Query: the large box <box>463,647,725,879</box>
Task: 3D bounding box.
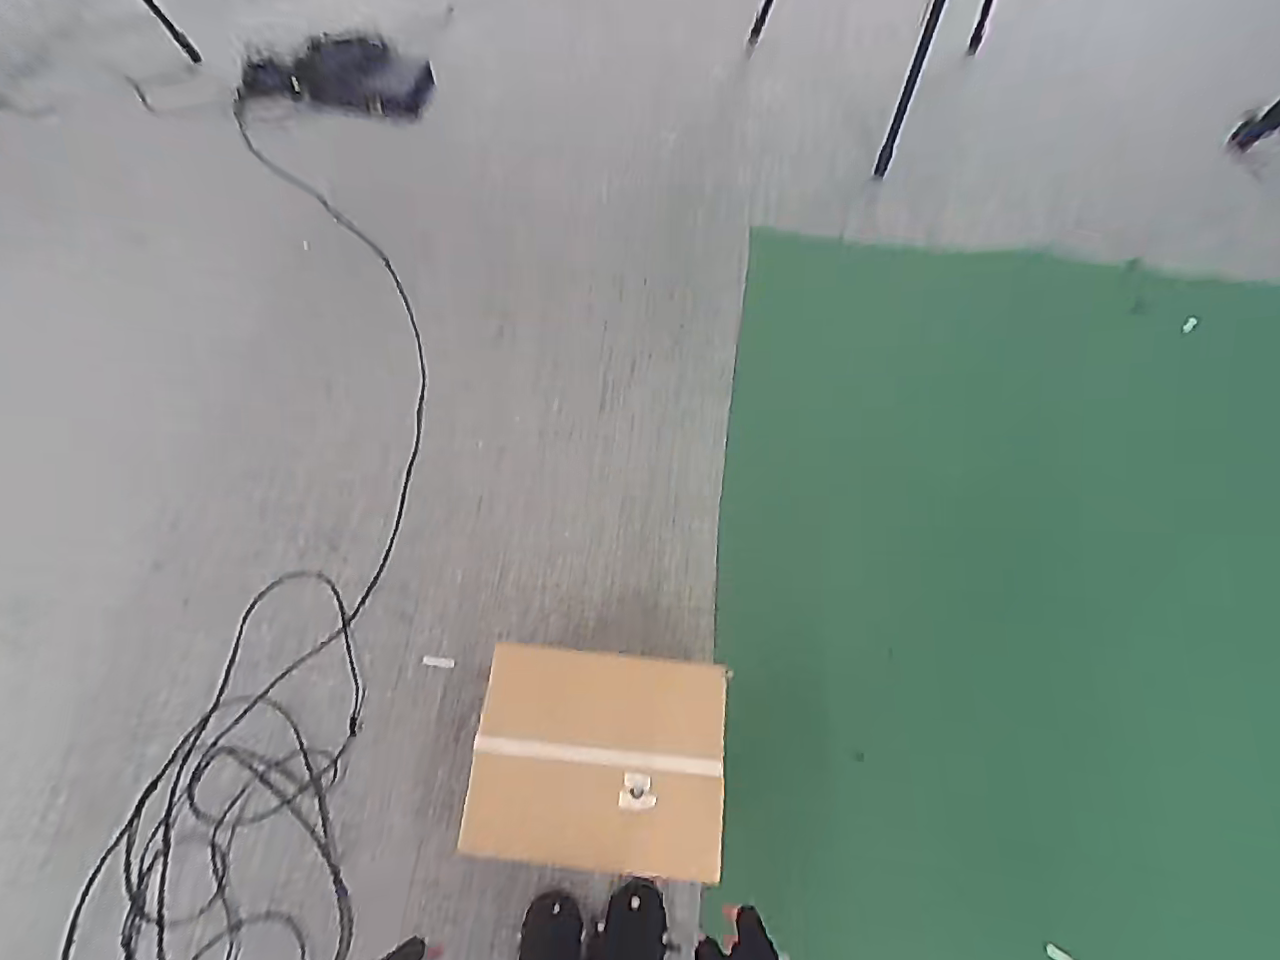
[{"bbox_3d":[-0.068,0.509,1.018,0.408,0.320,0.320,6,67,1],"label":"large box"}]
